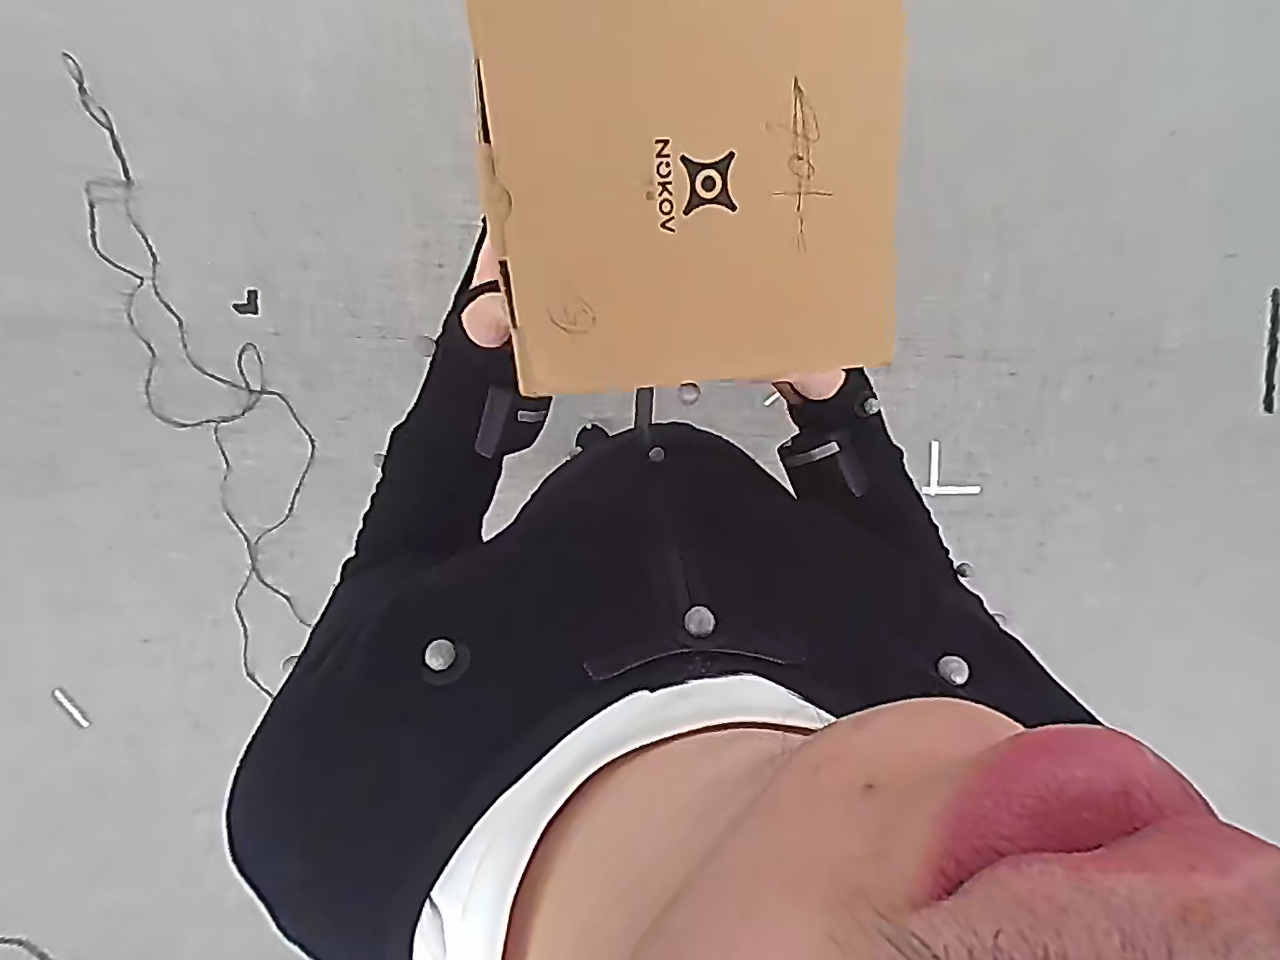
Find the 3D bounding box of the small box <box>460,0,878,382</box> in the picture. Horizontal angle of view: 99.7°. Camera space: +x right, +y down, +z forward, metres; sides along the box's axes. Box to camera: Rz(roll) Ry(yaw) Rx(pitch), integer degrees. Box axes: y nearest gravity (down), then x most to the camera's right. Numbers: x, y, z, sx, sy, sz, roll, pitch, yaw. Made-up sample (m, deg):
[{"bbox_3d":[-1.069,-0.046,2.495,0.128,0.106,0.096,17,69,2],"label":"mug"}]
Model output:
[{"bbox_3d":[0.015,-0.153,0.317,0.179,0.176,0.168,-7,106,-3],"label":"small box"}]
